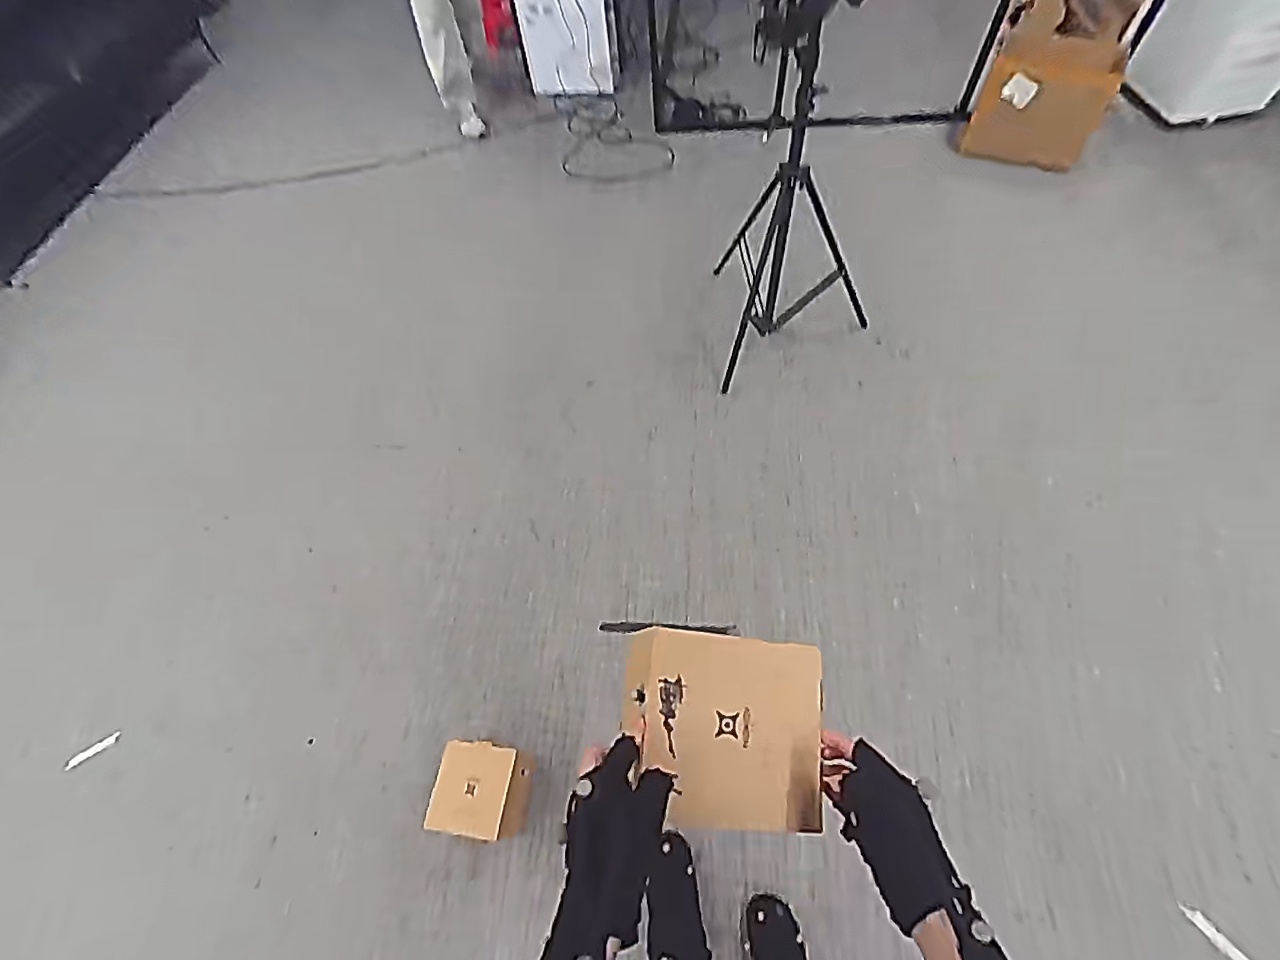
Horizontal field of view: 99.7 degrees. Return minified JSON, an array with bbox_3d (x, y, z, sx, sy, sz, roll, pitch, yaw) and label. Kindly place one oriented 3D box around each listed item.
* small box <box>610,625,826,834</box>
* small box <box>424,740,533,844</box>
[{"bbox_3d":[0.073,0.247,0.567,0.179,0.176,0.168,9,71,-8],"label":"small box"},{"bbox_3d":[-0.352,0.701,1.222,0.168,0.176,0.179,4,61,9],"label":"small box"}]
